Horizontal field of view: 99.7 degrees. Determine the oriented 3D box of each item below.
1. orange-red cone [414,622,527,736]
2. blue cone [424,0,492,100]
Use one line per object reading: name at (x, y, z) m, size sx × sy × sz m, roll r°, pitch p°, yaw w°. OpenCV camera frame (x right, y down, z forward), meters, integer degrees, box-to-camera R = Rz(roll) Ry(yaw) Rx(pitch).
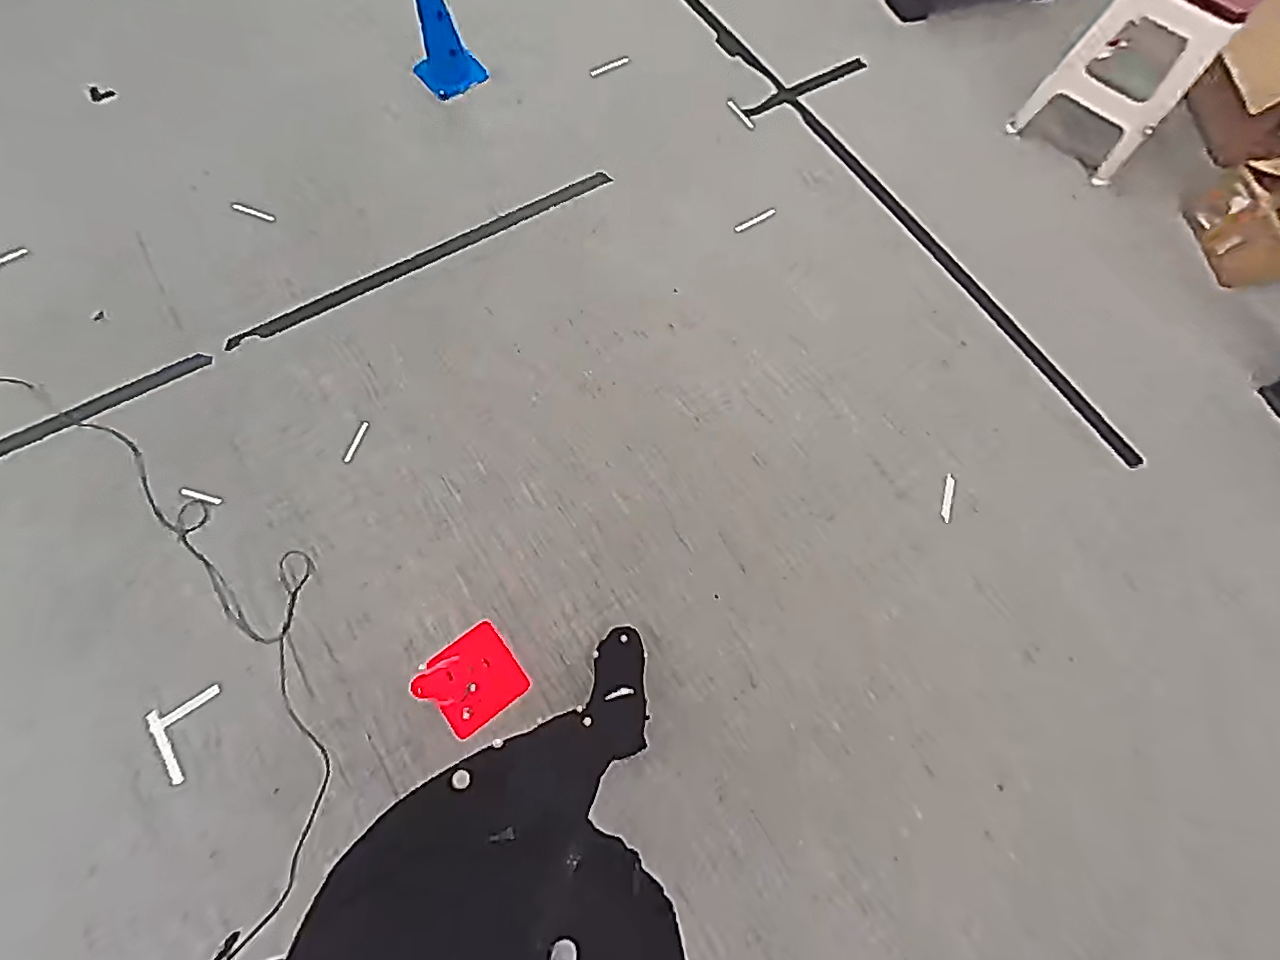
orange-red cone at (-0.379, 0.405, 1.096) m, size 0.199 × 0.360 × 0.198 m, roll -34°, pitch 77°, yaw -13°
blue cone at (-0.620, -1.444, 1.694) m, size 0.193 × 0.380 × 0.192 m, roll -35°, pitch 76°, yaw -12°
